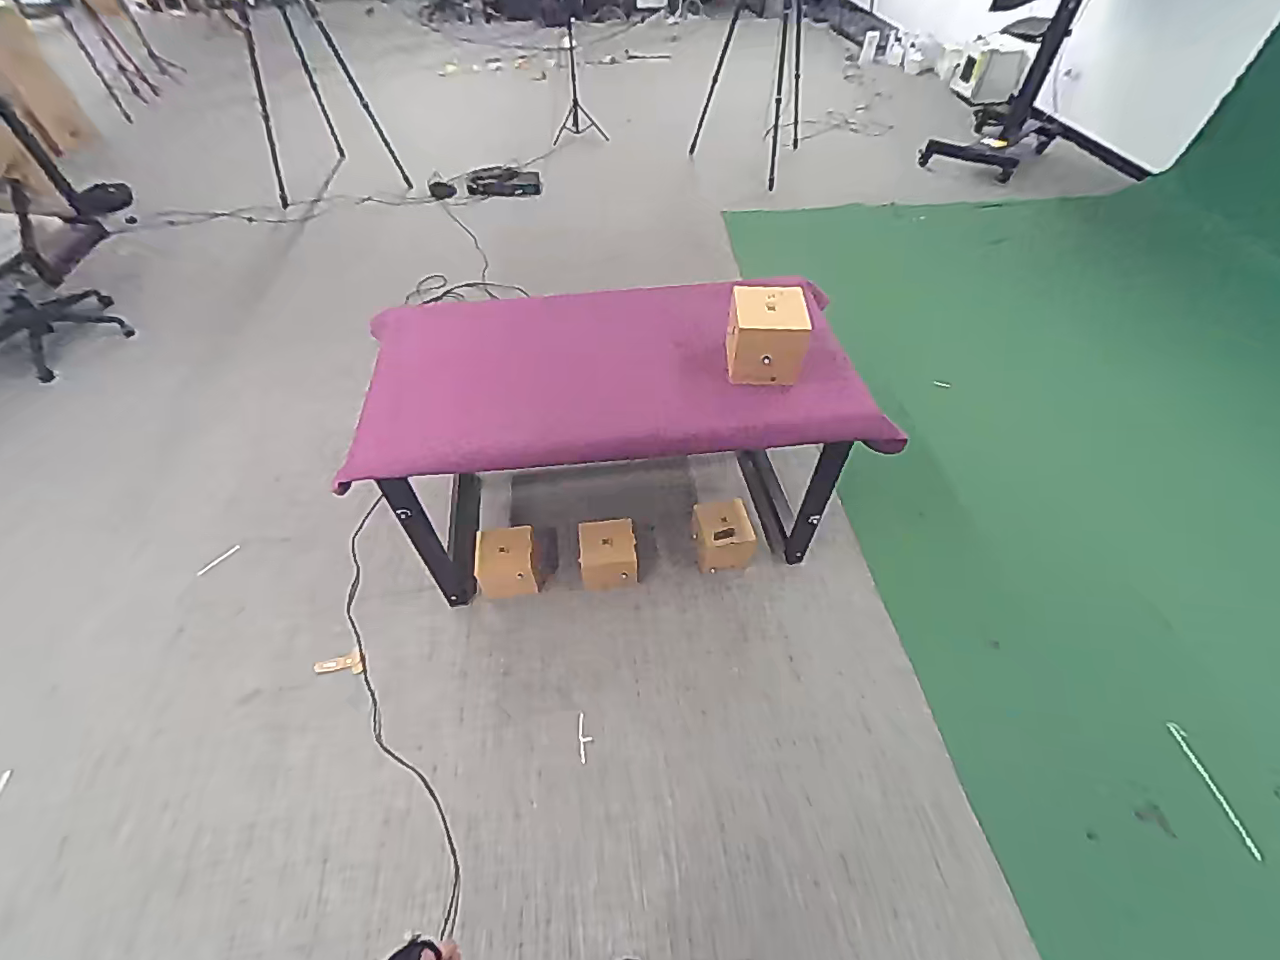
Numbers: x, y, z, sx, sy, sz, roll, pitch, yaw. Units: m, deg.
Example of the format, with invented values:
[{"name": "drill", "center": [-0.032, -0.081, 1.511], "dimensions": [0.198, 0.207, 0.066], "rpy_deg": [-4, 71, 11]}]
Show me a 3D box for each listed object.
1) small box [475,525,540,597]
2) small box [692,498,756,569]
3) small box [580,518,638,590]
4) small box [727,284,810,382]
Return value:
[{"name": "small box", "center": [-0.425, 0.268, 1.758], "dimensions": [0.179, 0.176, 0.168], "rpy_deg": [-6, 51, -5]}, {"name": "small box", "center": [0.277, 0.186, 1.815], "dimensions": [0.168, 0.176, 0.179], "rpy_deg": [-8, 50, -6]}, {"name": "small box", "center": [-0.100, 0.244, 1.773], "dimensions": [0.179, 0.176, 0.168], "rpy_deg": [-6, 50, -3]}, {"name": "small box", "center": [0.306, -0.356, 1.320], "dimensions": [0.168, 0.176, 0.179], "rpy_deg": [2, 51, 2]}]
